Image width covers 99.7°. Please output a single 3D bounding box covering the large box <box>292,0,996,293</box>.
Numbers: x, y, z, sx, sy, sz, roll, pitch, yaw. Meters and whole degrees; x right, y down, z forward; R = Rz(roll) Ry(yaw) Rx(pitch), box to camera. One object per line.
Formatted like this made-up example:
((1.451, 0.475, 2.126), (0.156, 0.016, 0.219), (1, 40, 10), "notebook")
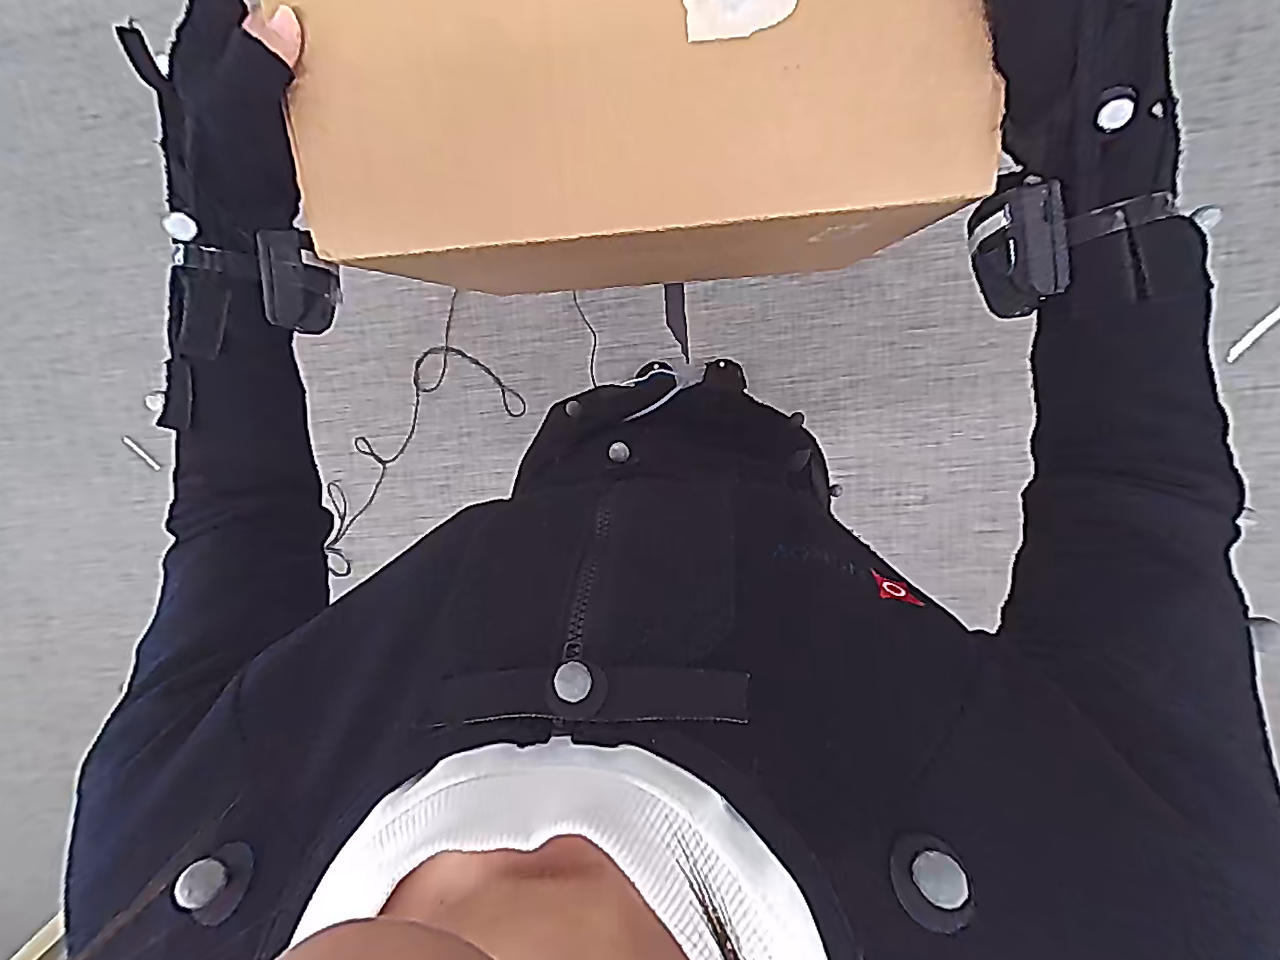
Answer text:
((0.003, -0.345, 0.439), (0.408, 0.320, 0.320), (-3, 105, 6), "large box")
